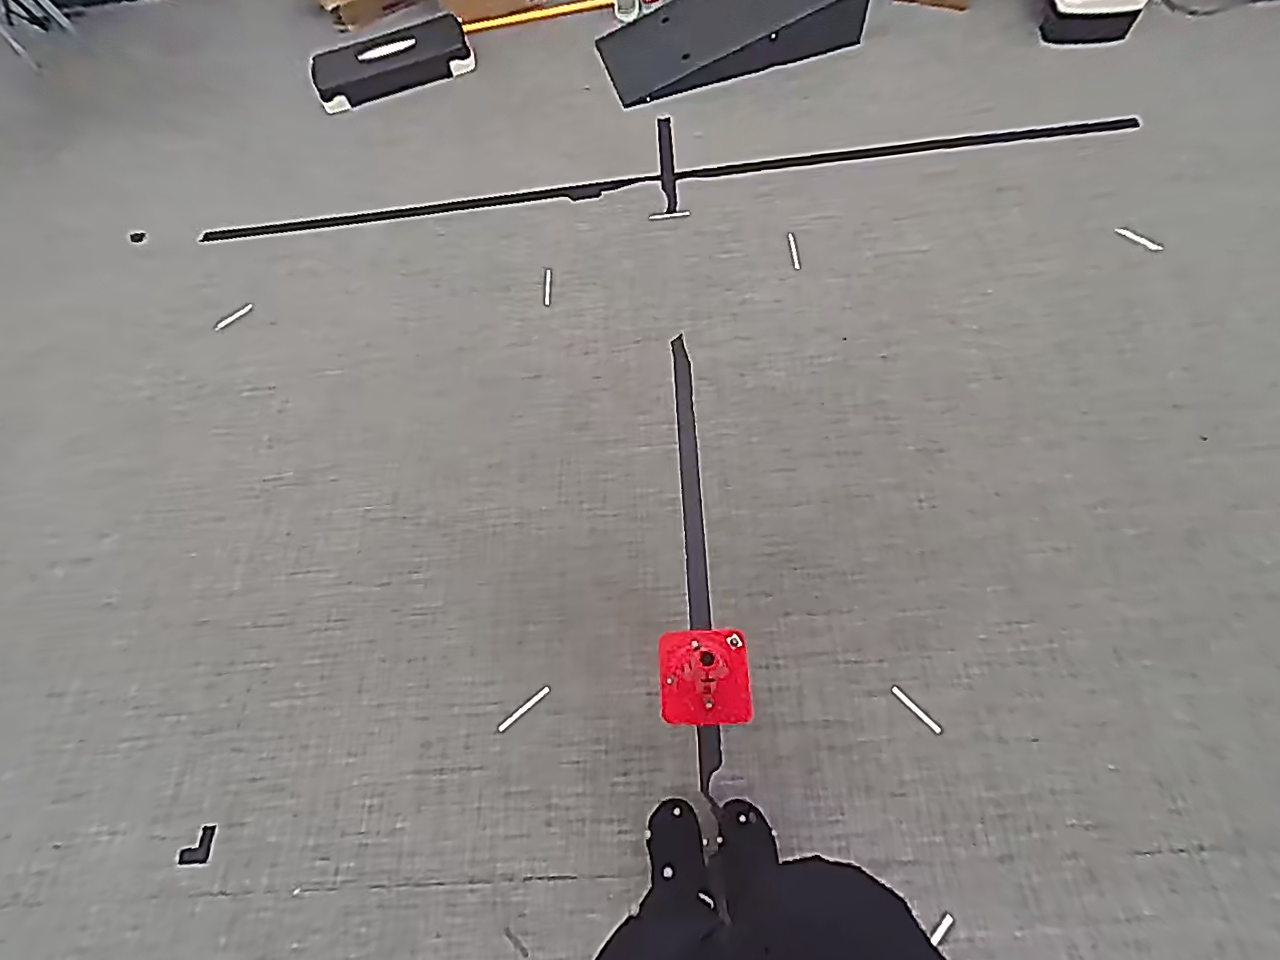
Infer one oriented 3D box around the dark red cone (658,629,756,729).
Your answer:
[{"bbox_3d":[0.127,0.368,1.040,0.201,0.394,0.202,-5,65,5],"label":"dark red cone"}]
